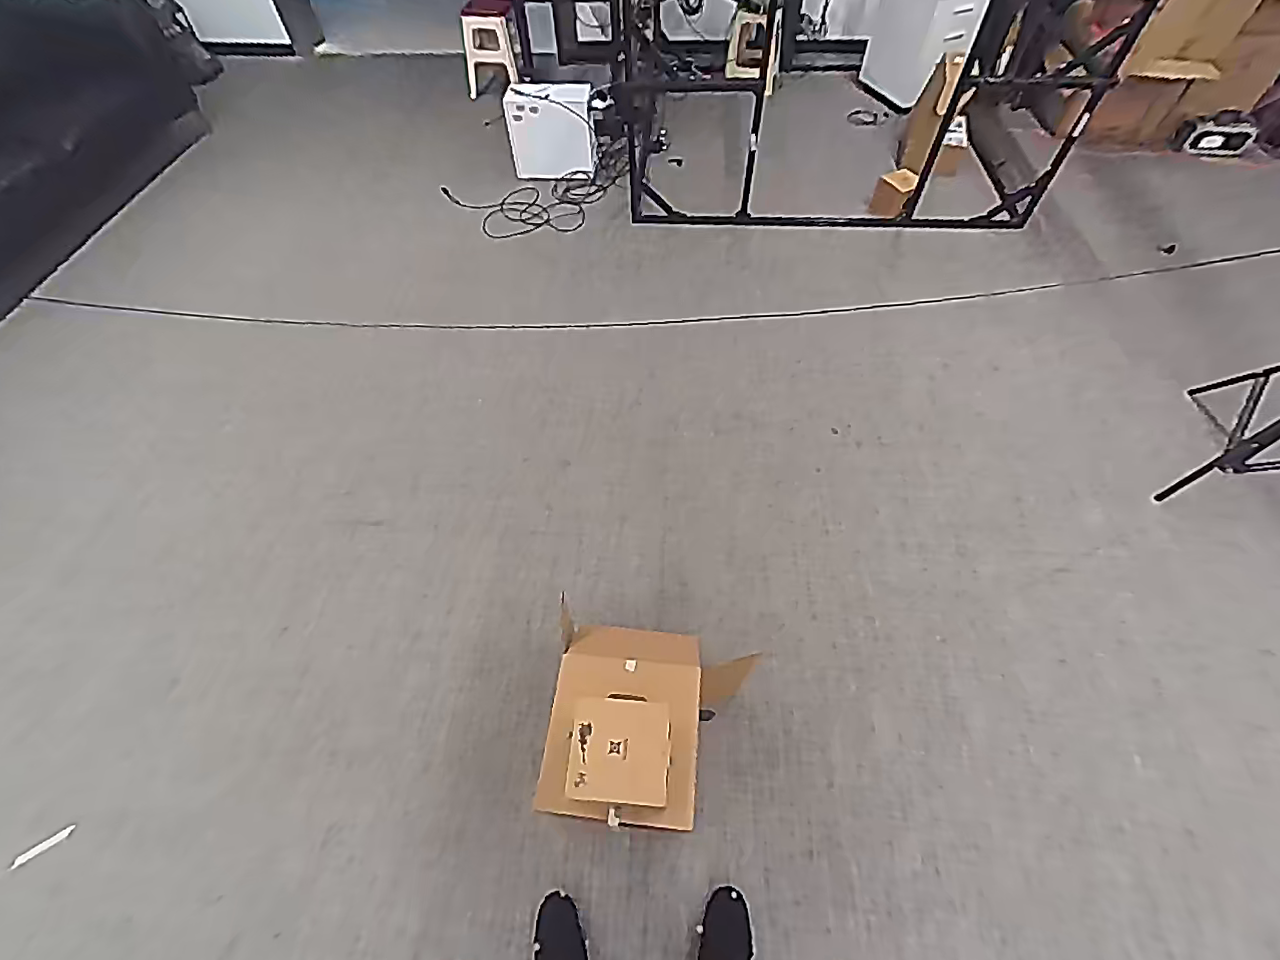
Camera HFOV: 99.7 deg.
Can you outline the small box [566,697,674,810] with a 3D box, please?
[{"bbox_3d":[-0.032,0.521,1.026,0.179,0.176,0.168,4,57,4],"label":"small box"}]
